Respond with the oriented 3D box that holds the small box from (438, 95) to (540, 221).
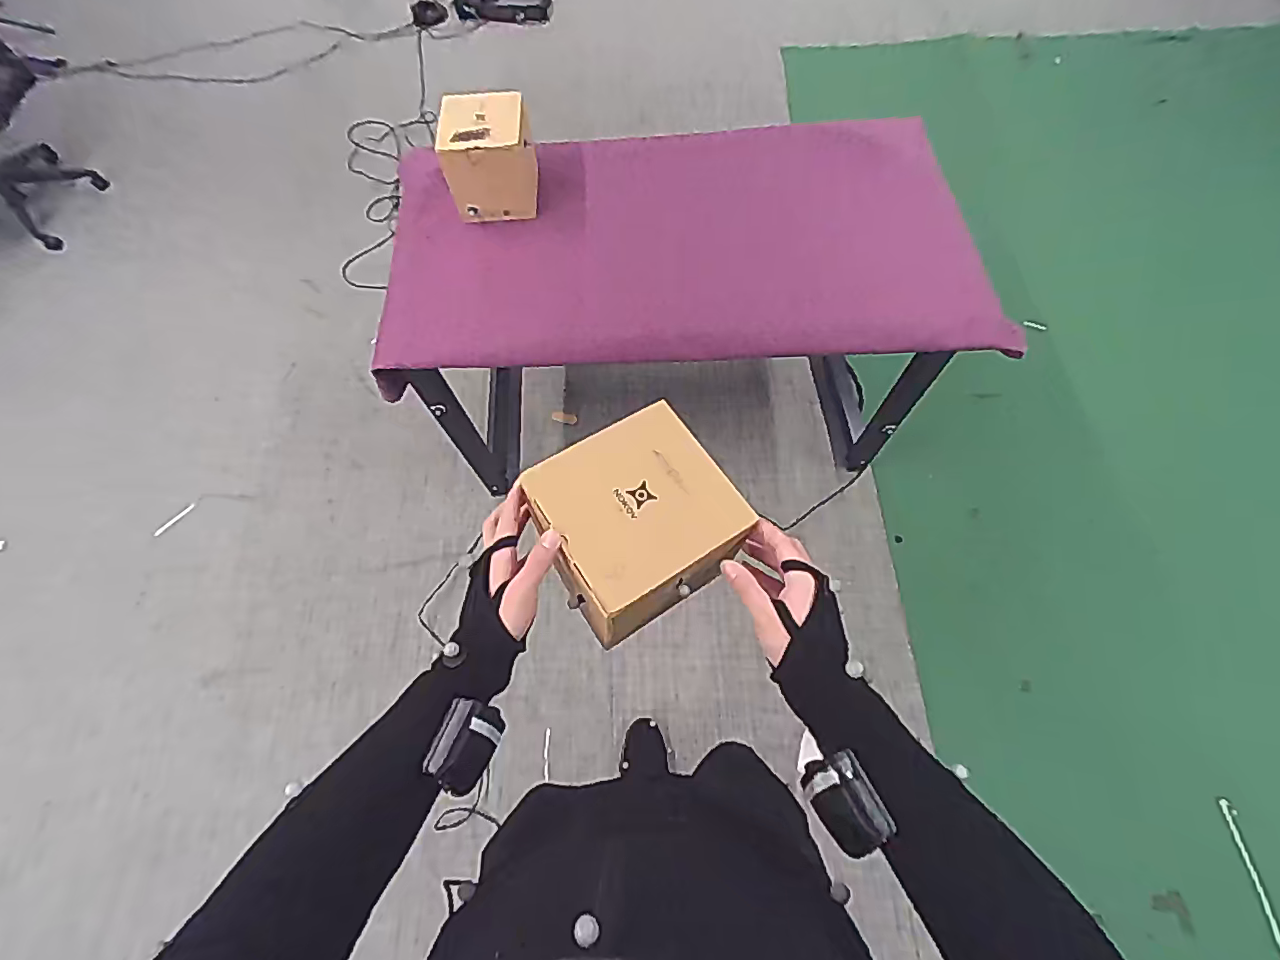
[{"bbox_3d":[-0.313,-0.678,1.155,0.168,0.176,0.179,-3,65,0],"label":"small box"}]
